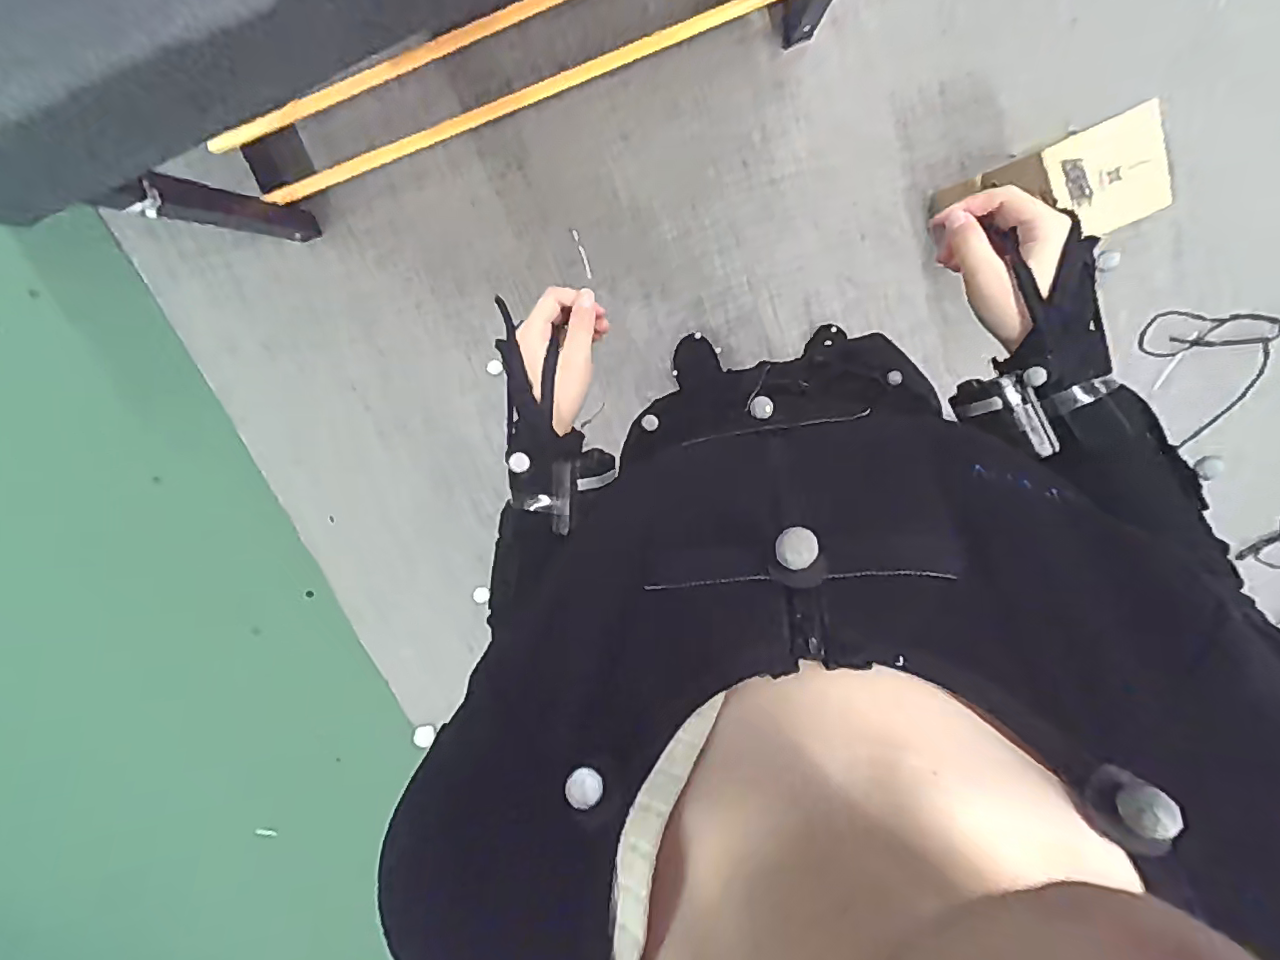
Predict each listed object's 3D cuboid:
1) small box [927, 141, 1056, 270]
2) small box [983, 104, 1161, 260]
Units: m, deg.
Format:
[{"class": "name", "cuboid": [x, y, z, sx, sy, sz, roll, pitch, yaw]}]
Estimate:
[{"class": "small box", "cuboid": [0.730, -0.548, 1.105, 0.179, 0.176, 0.168, -24, 104, 9]}, {"class": "small box", "cuboid": [0.738, -0.504, 0.947, 0.179, 0.176, 0.168, -24, 105, 7]}]
